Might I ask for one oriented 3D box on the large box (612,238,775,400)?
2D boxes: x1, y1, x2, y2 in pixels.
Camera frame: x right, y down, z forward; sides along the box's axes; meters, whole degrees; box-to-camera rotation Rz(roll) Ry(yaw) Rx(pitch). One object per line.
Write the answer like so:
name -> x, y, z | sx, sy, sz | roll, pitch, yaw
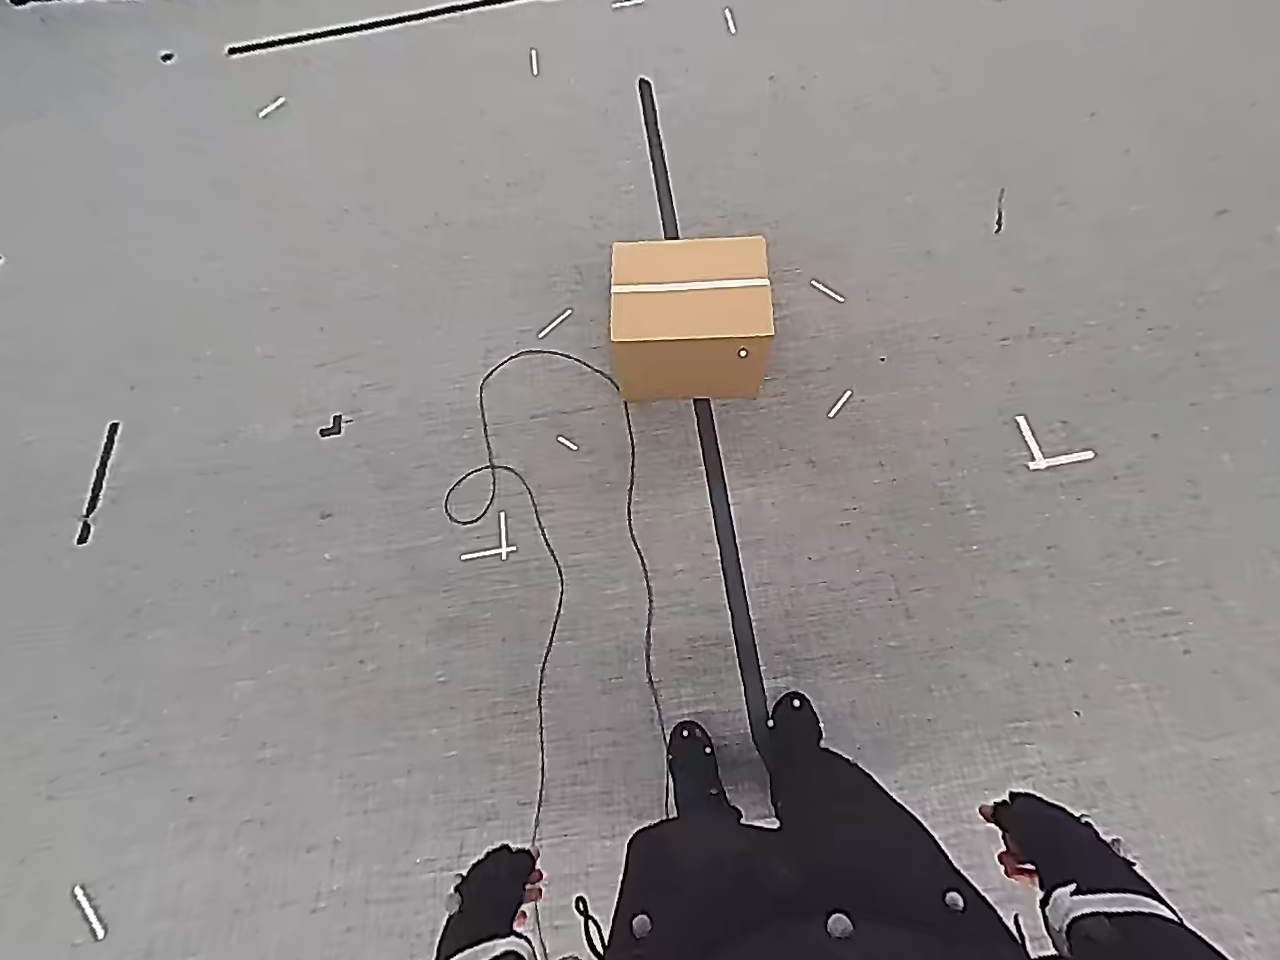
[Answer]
large box -> 0.139, -0.433, 1.510 | 0.408, 0.320, 0.320 | -1, 70, 3
